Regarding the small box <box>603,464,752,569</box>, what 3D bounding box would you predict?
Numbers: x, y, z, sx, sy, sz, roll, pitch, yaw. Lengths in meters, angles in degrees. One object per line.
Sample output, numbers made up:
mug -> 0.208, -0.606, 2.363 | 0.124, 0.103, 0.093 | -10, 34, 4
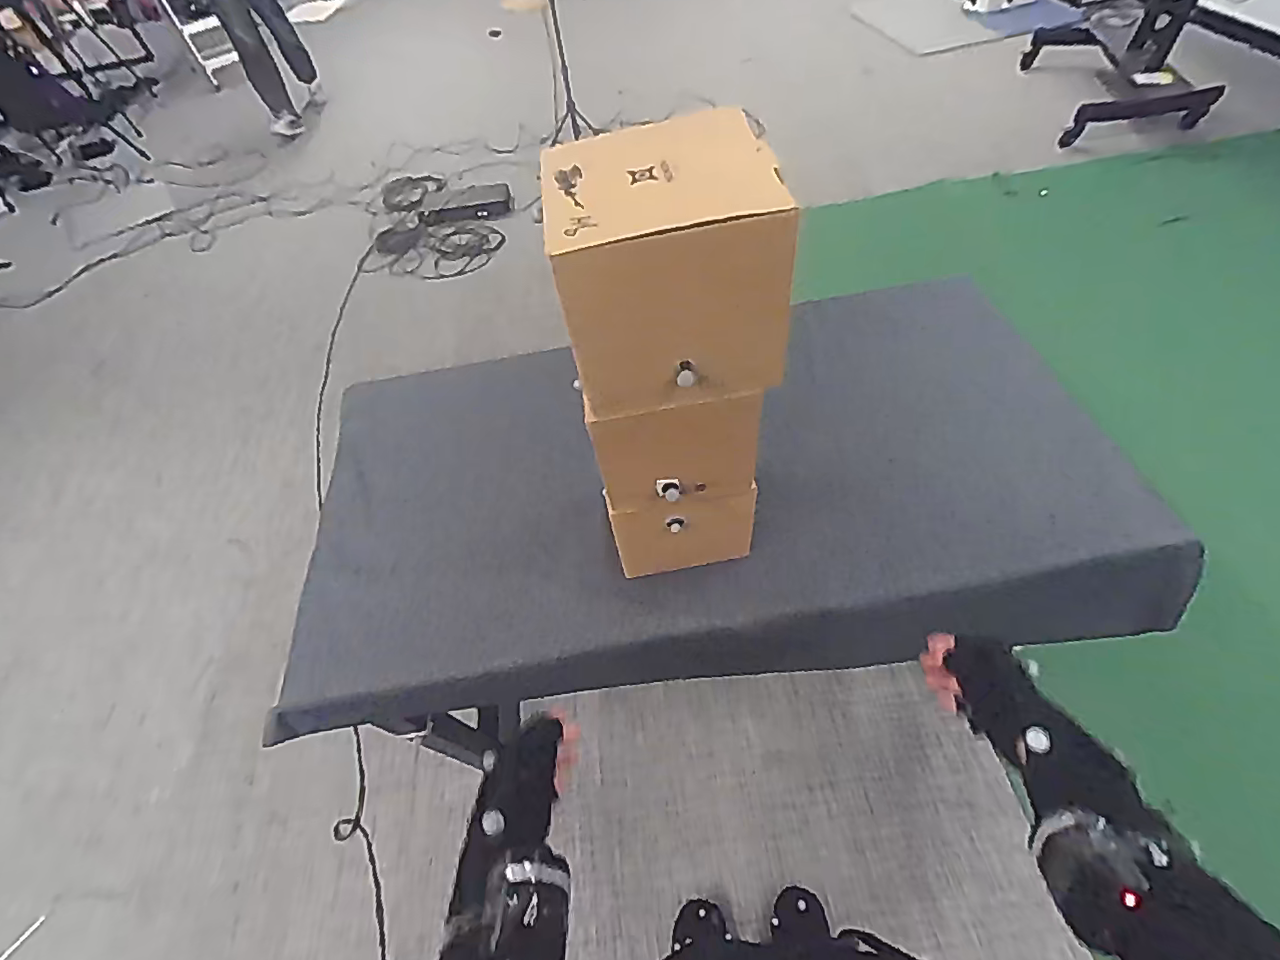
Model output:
small box -> 0.046, 0.007, 0.746 | 0.179, 0.176, 0.168 | -10, 54, -1

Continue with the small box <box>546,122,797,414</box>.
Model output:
small box -> 0.022, -0.181, 0.483 | 0.179, 0.176, 0.168 | -10, 53, 1

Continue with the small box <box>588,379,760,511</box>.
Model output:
small box -> 0.031, -0.090, 0.618 | 0.168, 0.176, 0.179 | -10, 55, 1
